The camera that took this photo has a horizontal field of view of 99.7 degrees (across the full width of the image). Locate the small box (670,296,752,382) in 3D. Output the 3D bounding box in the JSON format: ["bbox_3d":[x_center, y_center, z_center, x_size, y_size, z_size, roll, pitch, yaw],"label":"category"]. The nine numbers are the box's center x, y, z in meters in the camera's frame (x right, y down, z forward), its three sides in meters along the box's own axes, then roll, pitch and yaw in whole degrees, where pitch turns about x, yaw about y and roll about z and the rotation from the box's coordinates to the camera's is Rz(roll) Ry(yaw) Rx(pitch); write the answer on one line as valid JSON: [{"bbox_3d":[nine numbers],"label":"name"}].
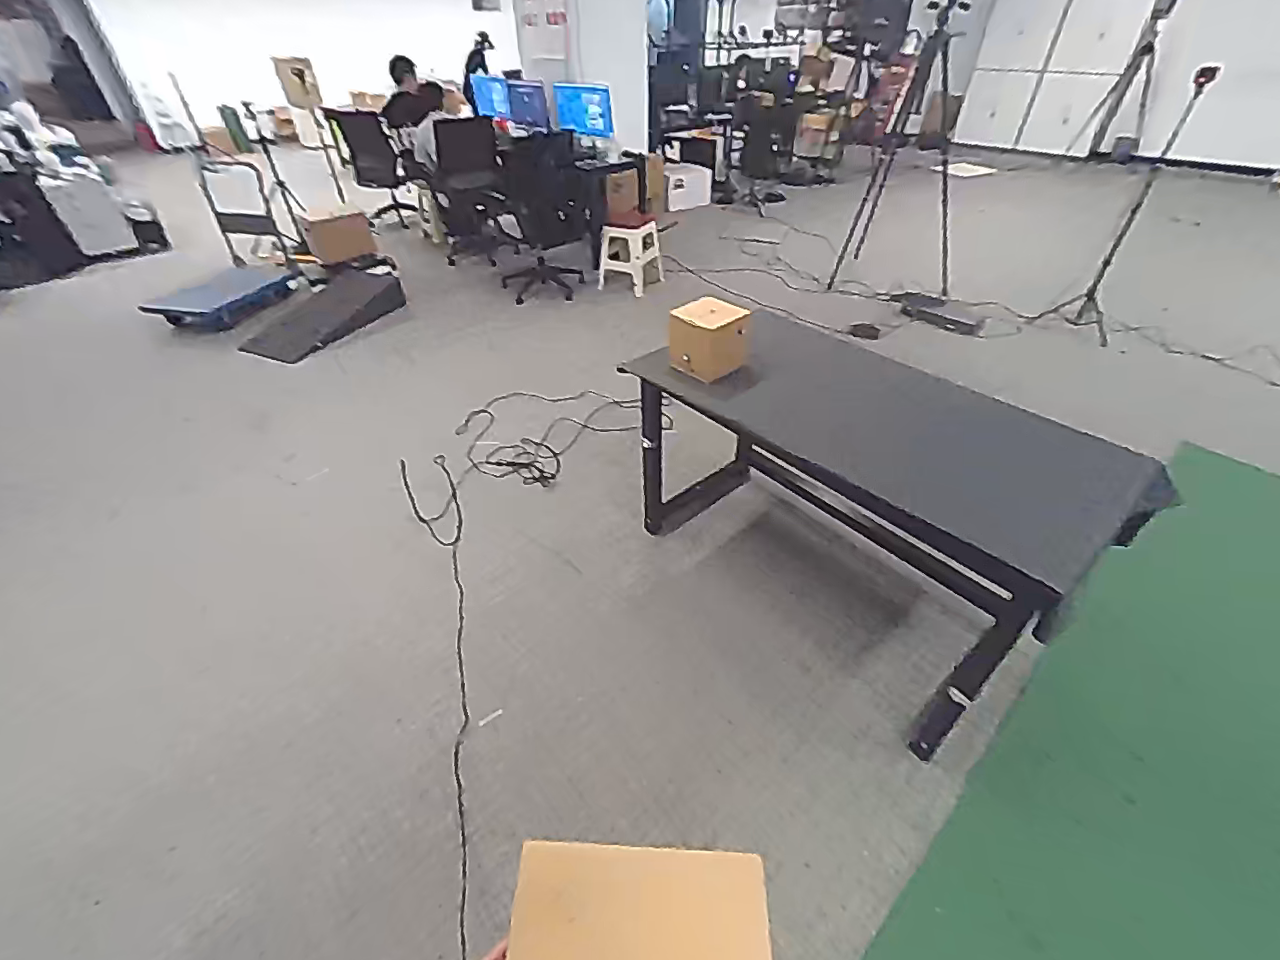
[{"bbox_3d":[0.201,-0.415,1.588,0.179,0.176,0.168,-31,49,-31],"label":"small box"}]
